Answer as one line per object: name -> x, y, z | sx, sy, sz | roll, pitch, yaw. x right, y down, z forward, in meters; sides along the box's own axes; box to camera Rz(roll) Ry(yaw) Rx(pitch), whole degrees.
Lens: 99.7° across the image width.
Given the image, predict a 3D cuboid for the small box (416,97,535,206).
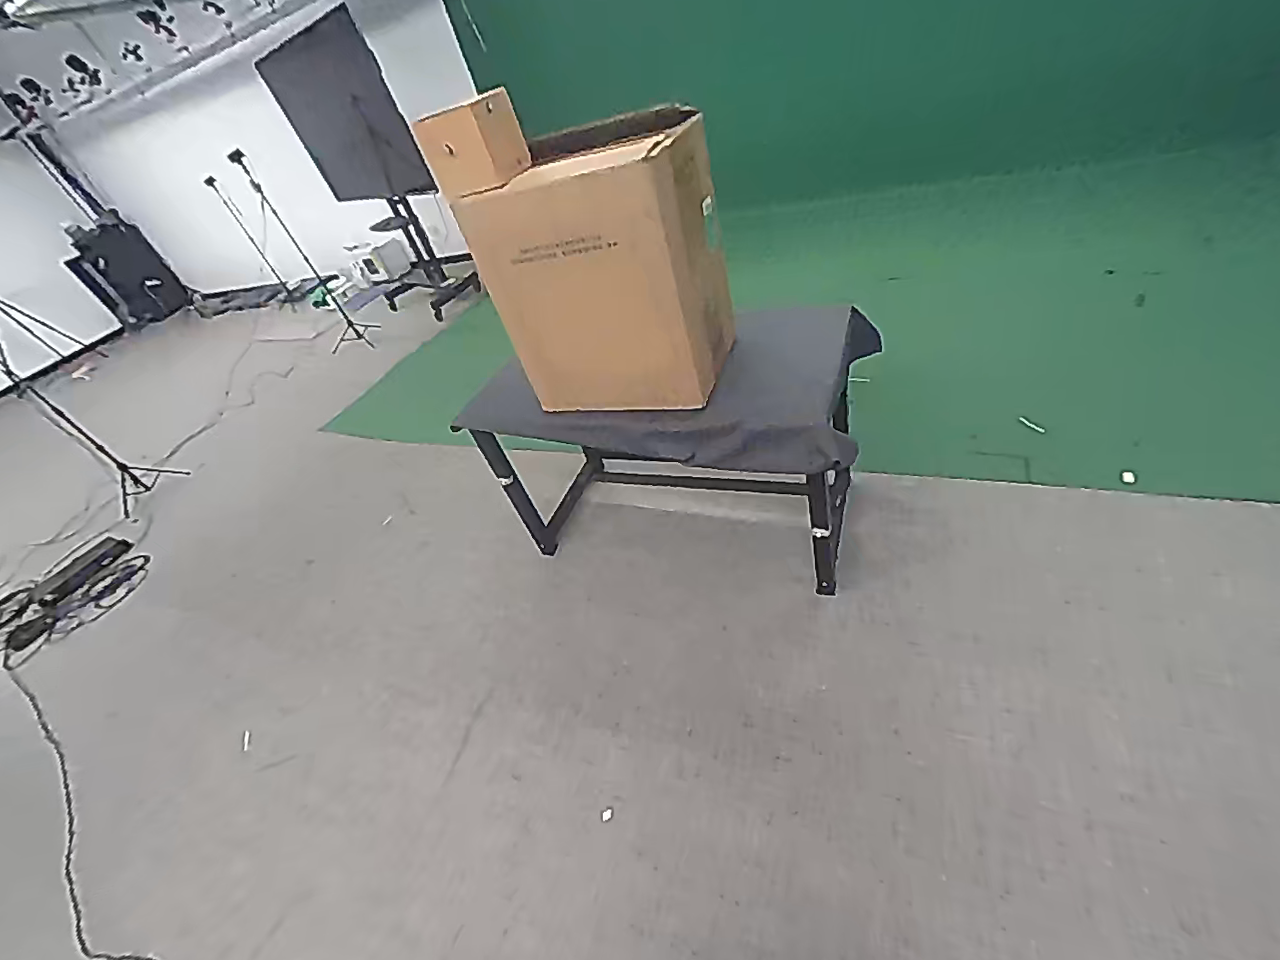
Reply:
small box -> -0.387, -0.782, 1.300 | 0.179, 0.176, 0.168 | 0, 44, 26
